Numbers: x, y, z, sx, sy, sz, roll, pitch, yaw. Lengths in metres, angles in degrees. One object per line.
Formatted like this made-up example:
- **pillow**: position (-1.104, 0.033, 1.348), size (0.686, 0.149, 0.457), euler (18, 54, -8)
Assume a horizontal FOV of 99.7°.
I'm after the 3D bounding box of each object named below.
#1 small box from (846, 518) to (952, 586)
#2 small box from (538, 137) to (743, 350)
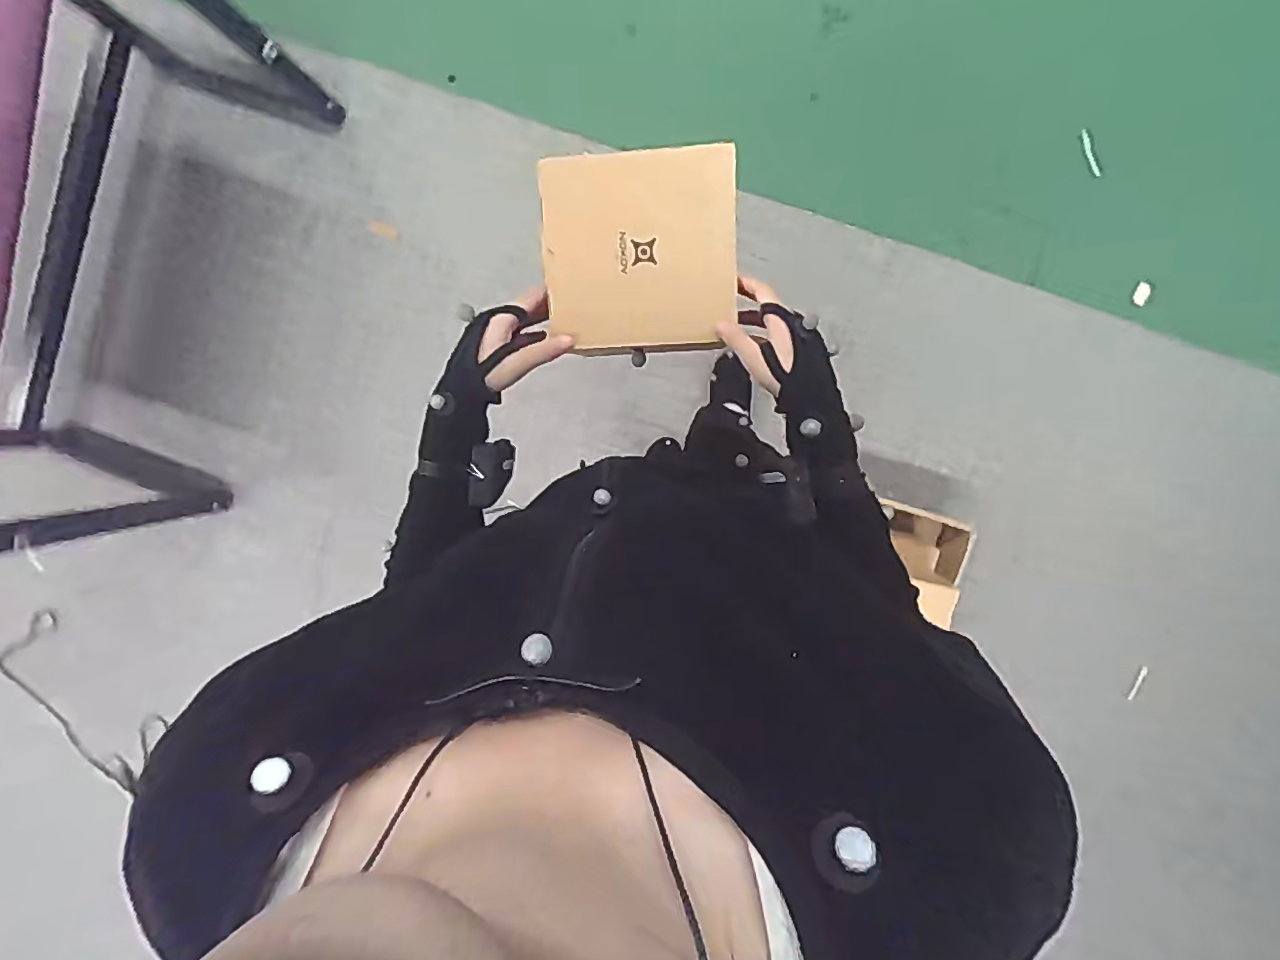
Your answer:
- **small box**: position (0.635, 0.206, 1.351), size (0.168, 0.176, 0.179), euler (15, 100, 5)
- **small box**: position (0.010, -0.226, 0.562), size (0.179, 0.176, 0.168), euler (-3, 102, 8)
